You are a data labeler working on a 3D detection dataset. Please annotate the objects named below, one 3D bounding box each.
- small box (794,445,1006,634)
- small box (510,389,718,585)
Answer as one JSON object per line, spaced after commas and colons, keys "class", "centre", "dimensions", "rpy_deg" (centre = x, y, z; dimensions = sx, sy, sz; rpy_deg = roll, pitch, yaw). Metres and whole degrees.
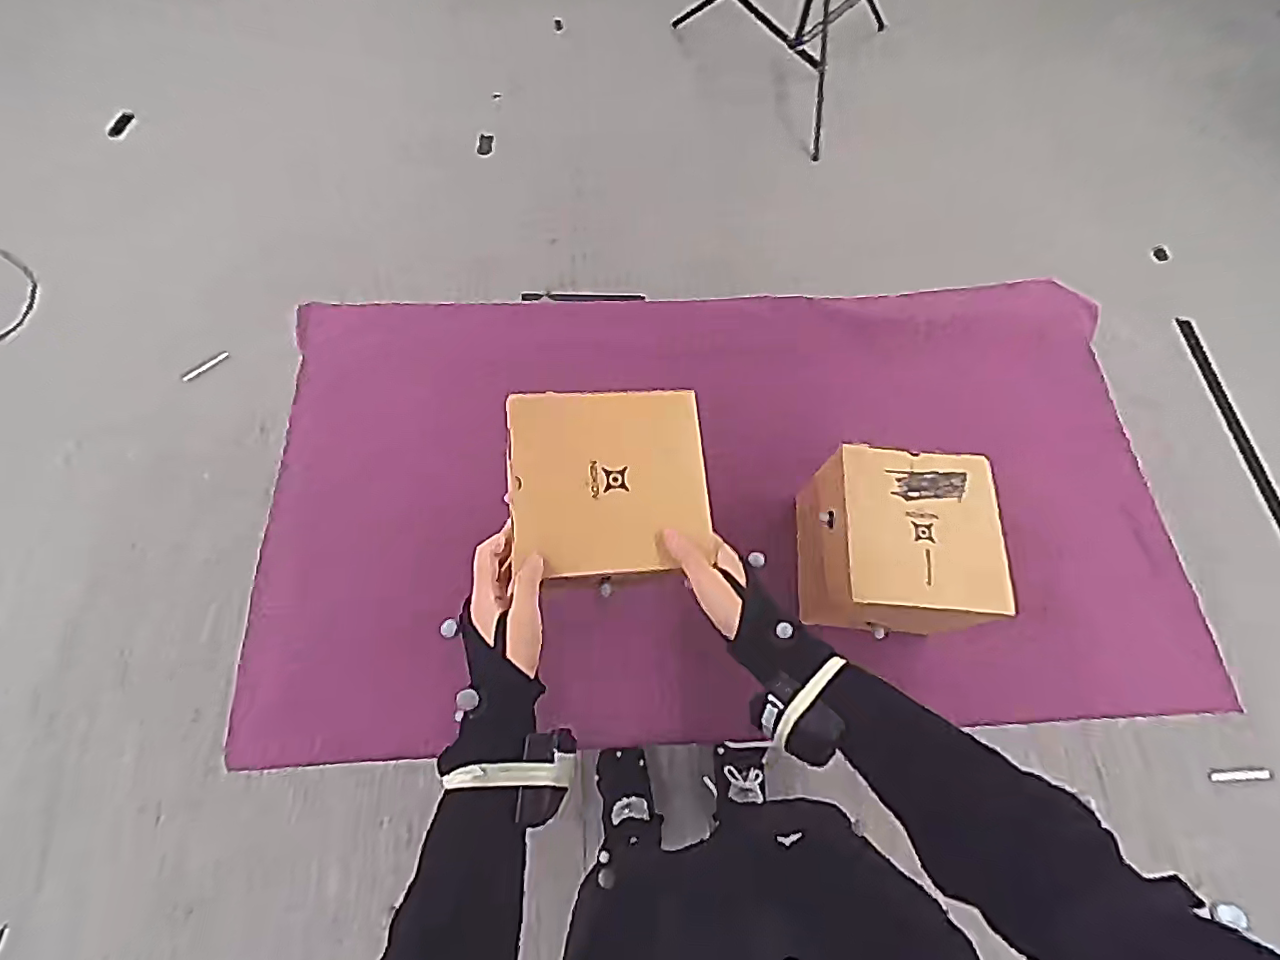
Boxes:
{"class": "small box", "centre": [0.288, 0.078, 0.644], "dimensions": [0.168, 0.176, 0.179], "rpy_deg": [5, 68, 0]}
{"class": "small box", "centre": [-0.036, 0.015, 0.549], "dimensions": [0.179, 0.176, 0.168], "rpy_deg": [-4, 77, -9]}
